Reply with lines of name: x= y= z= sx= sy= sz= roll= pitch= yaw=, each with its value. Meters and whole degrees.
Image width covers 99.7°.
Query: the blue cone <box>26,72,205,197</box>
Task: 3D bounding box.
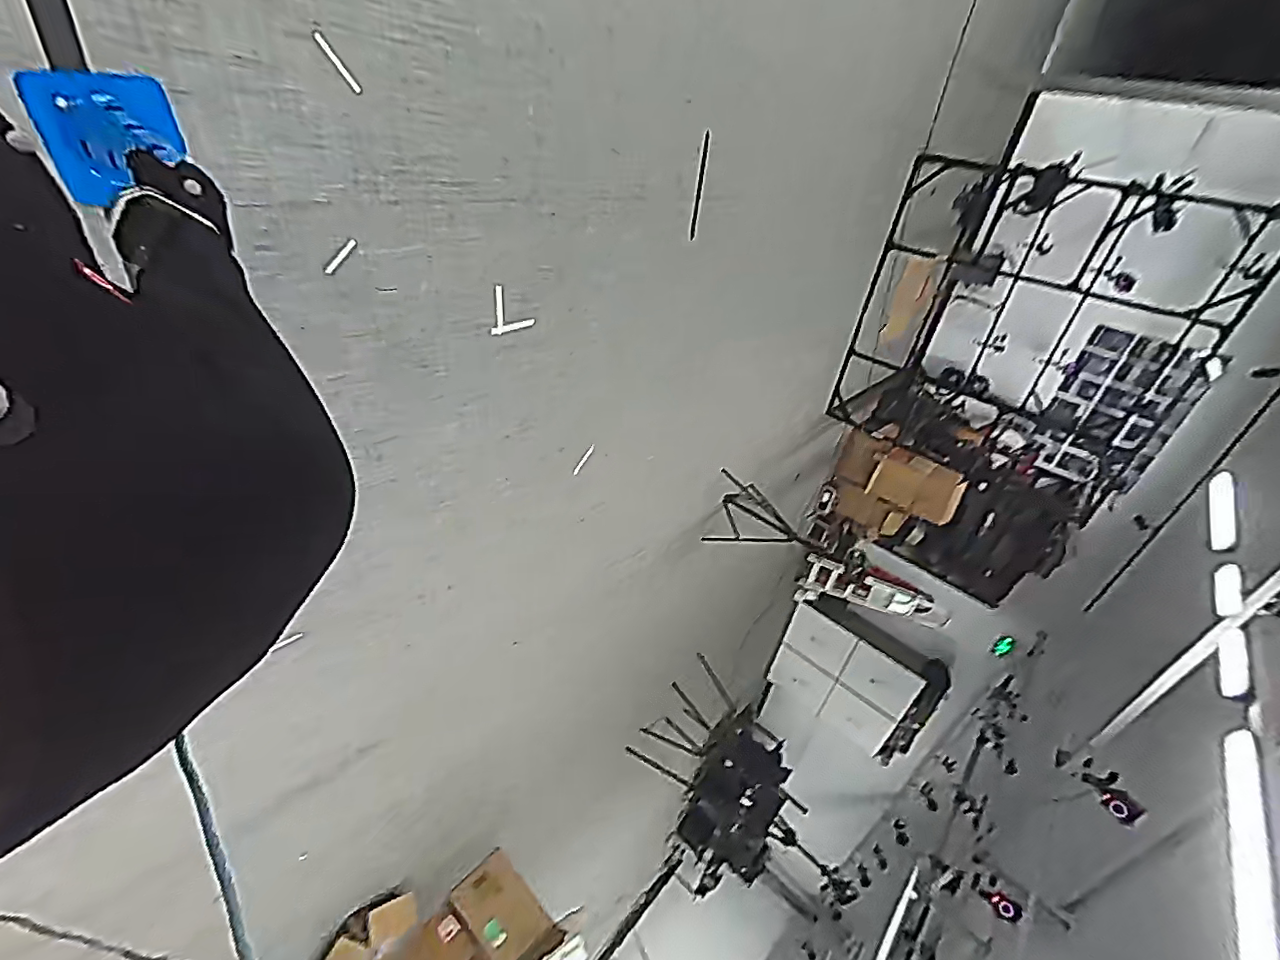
blue cone: x=-0.822 y=-0.545 z=0.896 sx=0.192 sy=0.380 sz=0.193 roll=-32 pitch=141 yaw=-40
